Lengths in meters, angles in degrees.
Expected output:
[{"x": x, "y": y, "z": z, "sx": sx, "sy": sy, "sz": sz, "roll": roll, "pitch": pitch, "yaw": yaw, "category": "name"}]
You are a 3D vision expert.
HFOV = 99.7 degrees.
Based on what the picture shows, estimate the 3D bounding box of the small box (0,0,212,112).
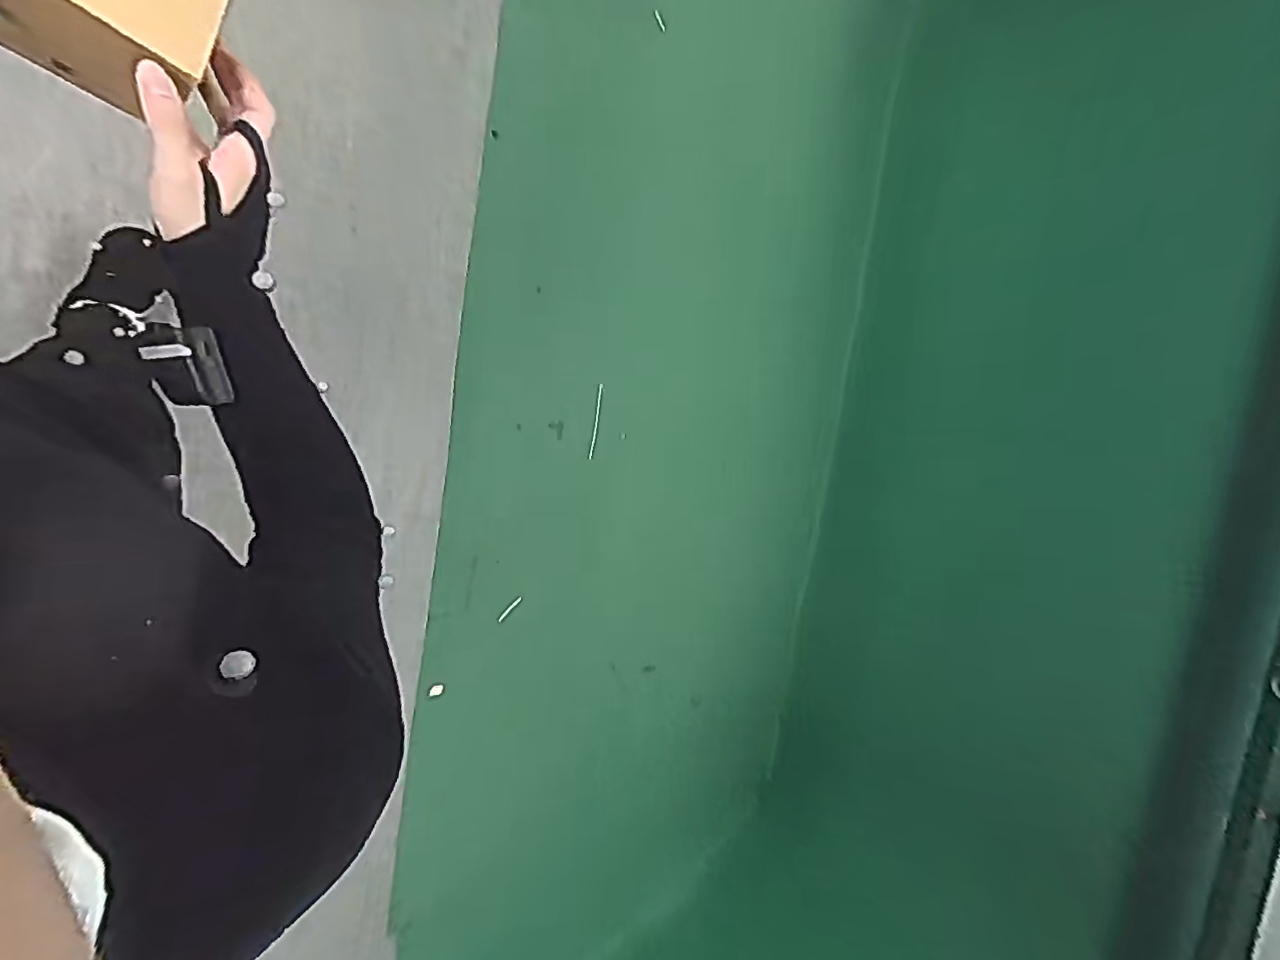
[{"x": -0.381, "y": -0.387, "z": 0.351, "sx": 0.168, "sy": 0.176, "sz": 0.179, "roll": 18, "pitch": 88, "yaw": -50, "category": "small box"}]
